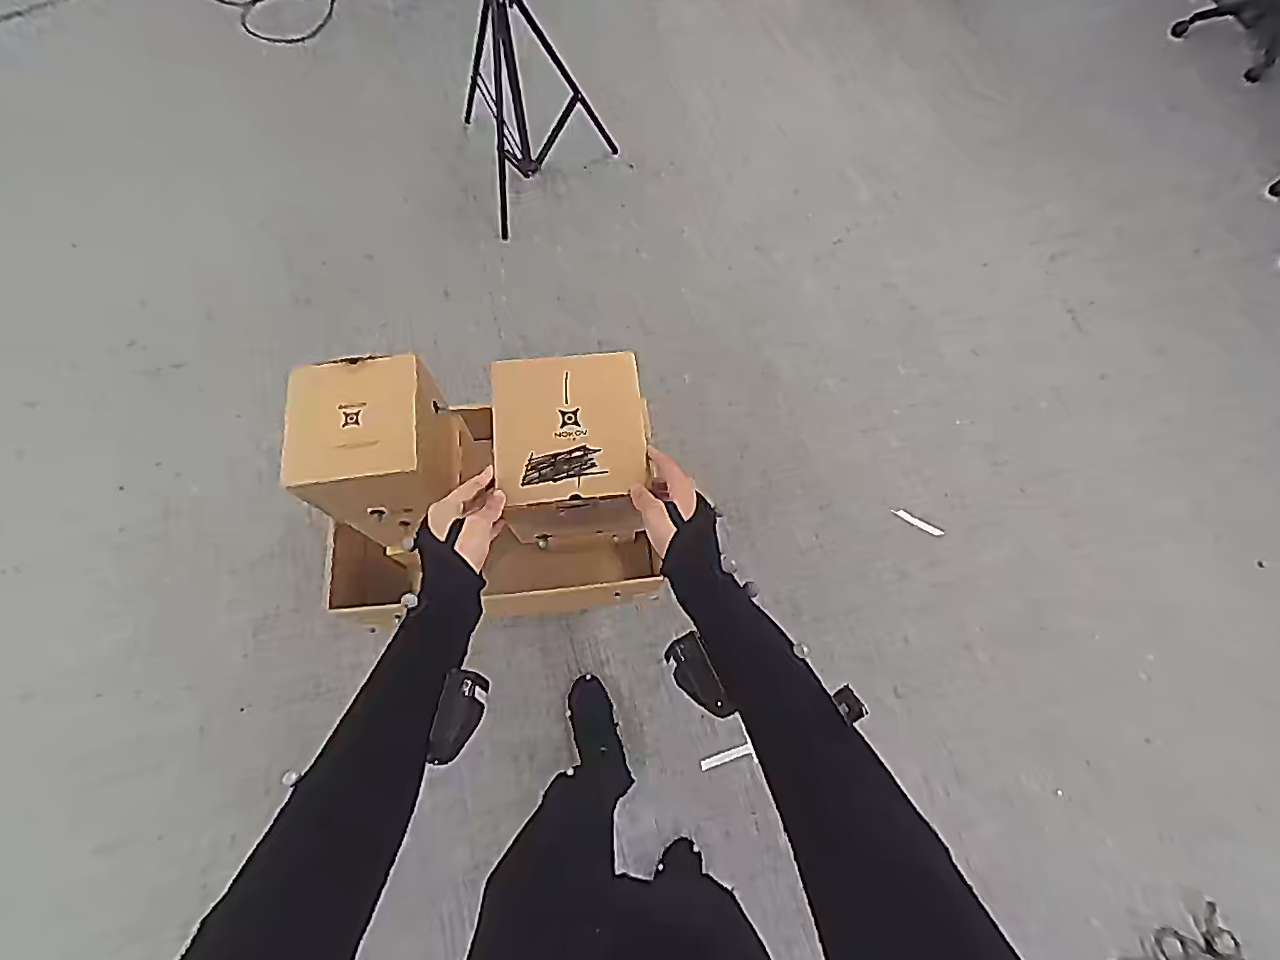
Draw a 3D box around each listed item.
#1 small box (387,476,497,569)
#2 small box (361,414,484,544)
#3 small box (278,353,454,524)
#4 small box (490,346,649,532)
[{"bbox_3d":[-0.381,0.071,1.062,0.168,0.176,0.179,-6,69,-6],"label":"small box"},{"bbox_3d":[-0.370,0.005,0.912,0.179,0.176,0.168,-5,69,-5],"label":"small box"},{"bbox_3d":[-0.367,-0.052,0.758,0.168,0.176,0.179,-7,69,-5],"label":"small box"},{"bbox_3d":[-0.082,-0.039,0.662,0.168,0.176,0.179,-6,71,-5],"label":"small box"}]
